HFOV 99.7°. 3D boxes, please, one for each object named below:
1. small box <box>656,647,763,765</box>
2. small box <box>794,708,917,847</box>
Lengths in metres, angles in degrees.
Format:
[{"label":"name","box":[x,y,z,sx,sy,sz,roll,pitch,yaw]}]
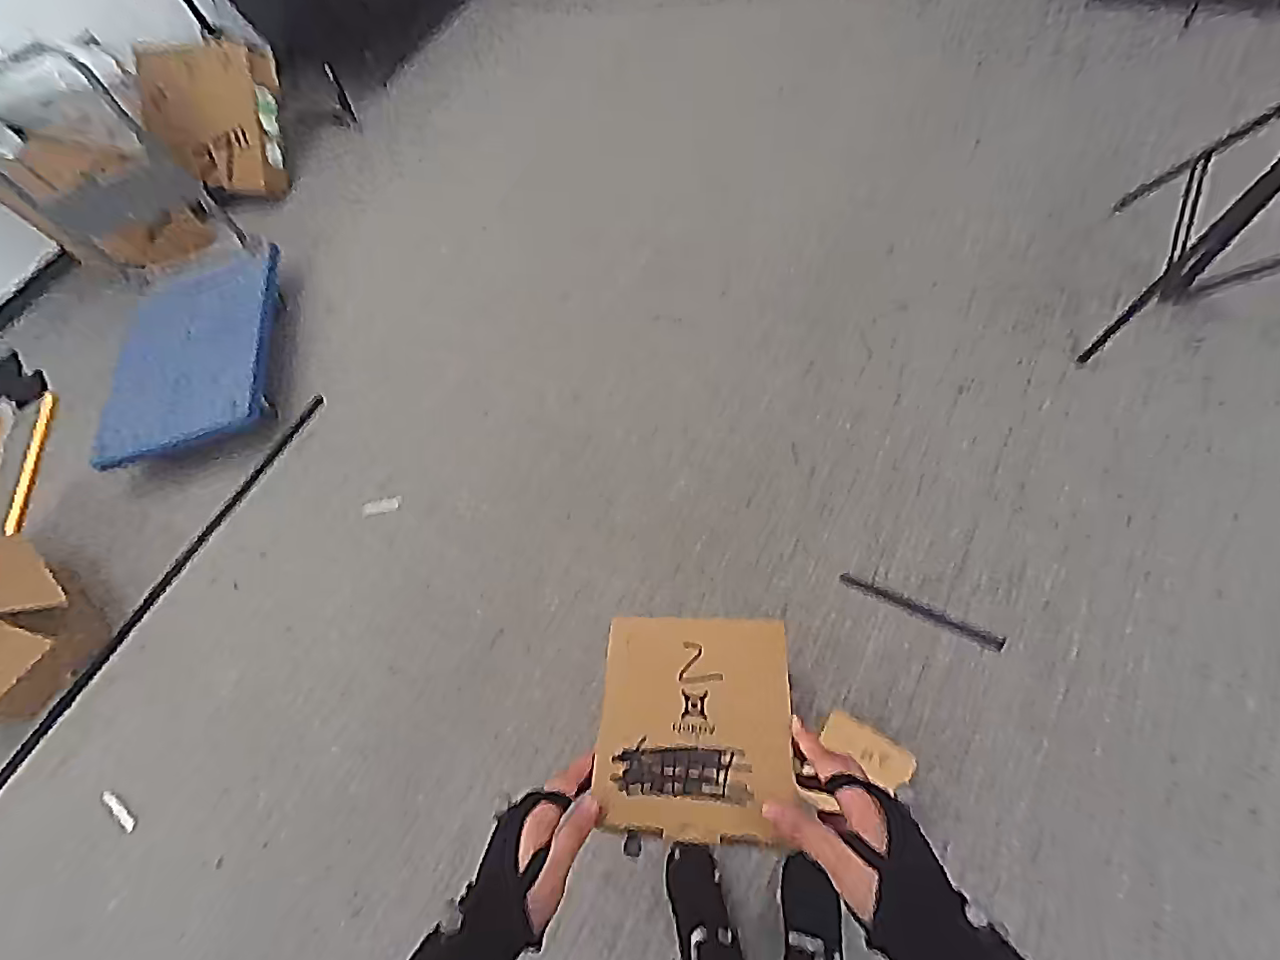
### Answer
[{"label":"small box","box":[0.157,0.496,1.190,0.168,0.176,0.179,25,73,22]},{"label":"small box","box":[0.422,0.586,1.085,0.168,0.176,0.179,28,73,22]}]
